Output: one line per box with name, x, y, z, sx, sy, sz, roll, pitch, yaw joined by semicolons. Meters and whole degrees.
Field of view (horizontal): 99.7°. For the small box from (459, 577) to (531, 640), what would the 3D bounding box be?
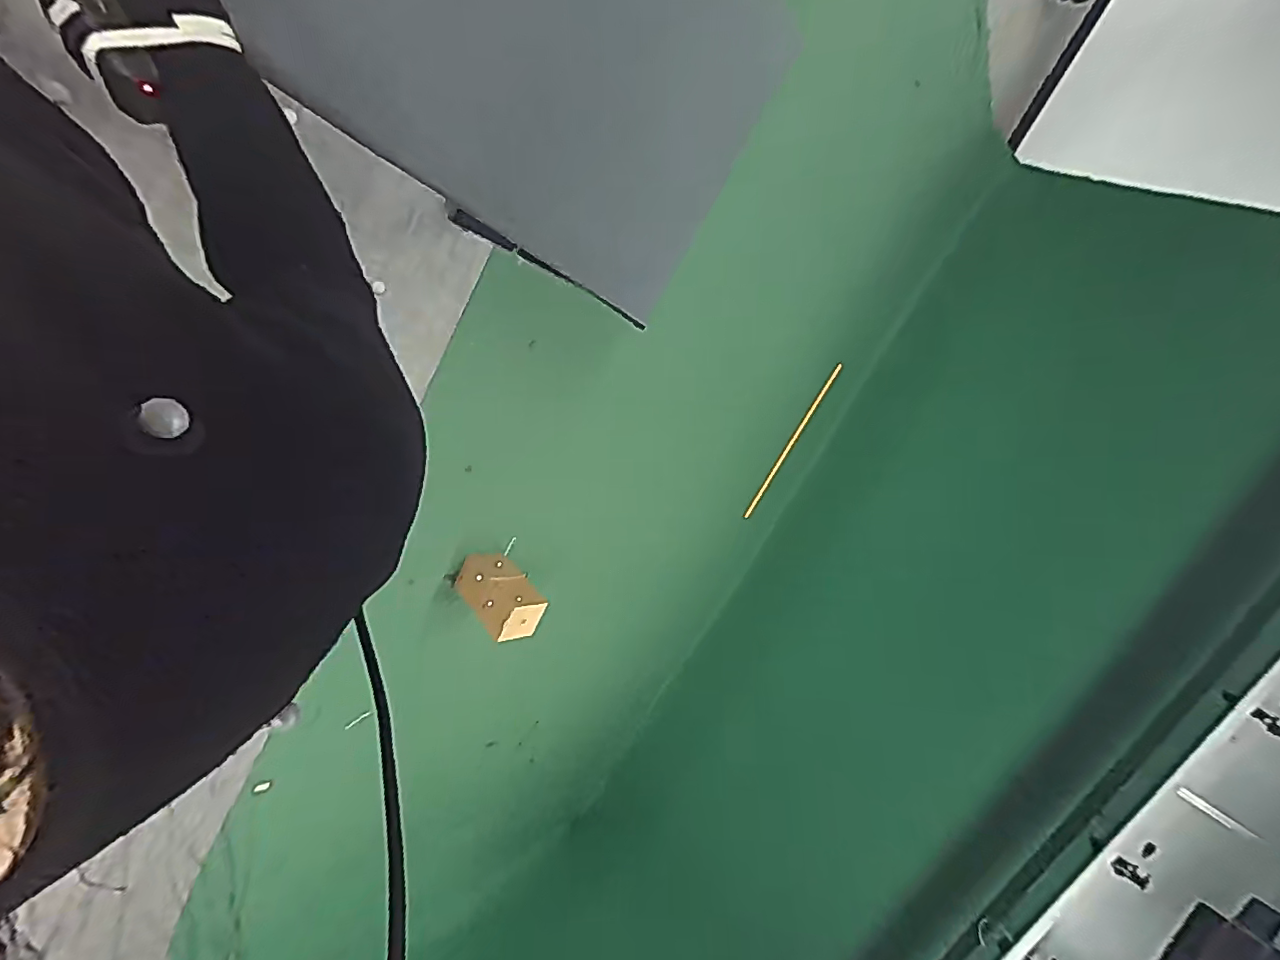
small box;-0.565;0.492;2.104;0.179;0.176;0.168;8;115;-55
